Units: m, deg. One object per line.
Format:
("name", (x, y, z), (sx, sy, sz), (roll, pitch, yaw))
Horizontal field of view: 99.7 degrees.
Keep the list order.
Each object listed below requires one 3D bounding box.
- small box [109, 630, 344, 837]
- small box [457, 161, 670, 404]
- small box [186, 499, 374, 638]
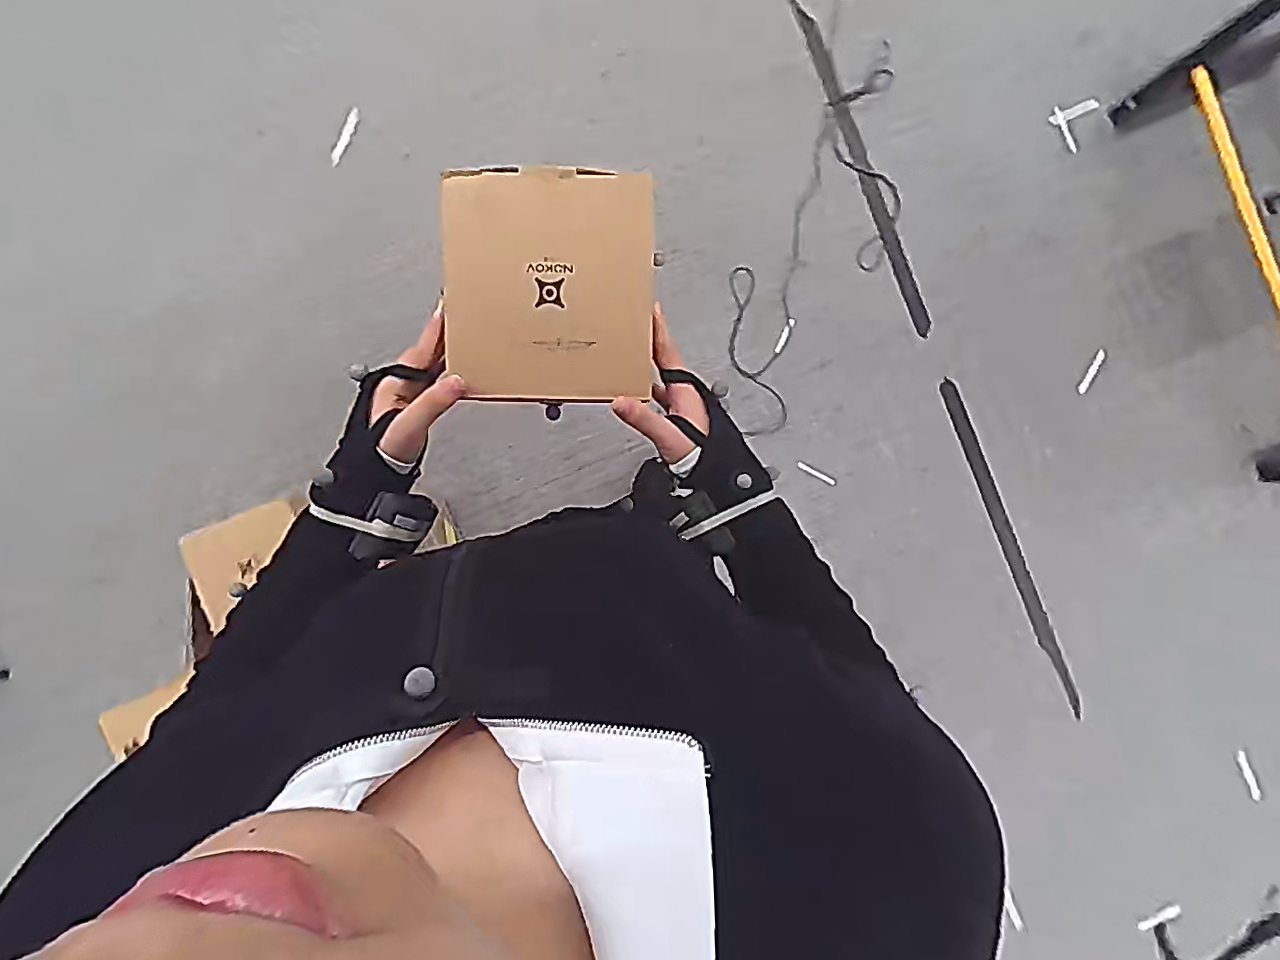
("small box", (-0.540, 0.329, 0.742), (0.179, 0.176, 0.168), (-23, 91, -6))
("small box", (-0.065, -0.164, 0.505), (0.168, 0.176, 0.179), (2, 97, -2))
("small box", (-0.589, 0.140, 0.908), (0.179, 0.176, 0.168), (-23, 89, -4))
